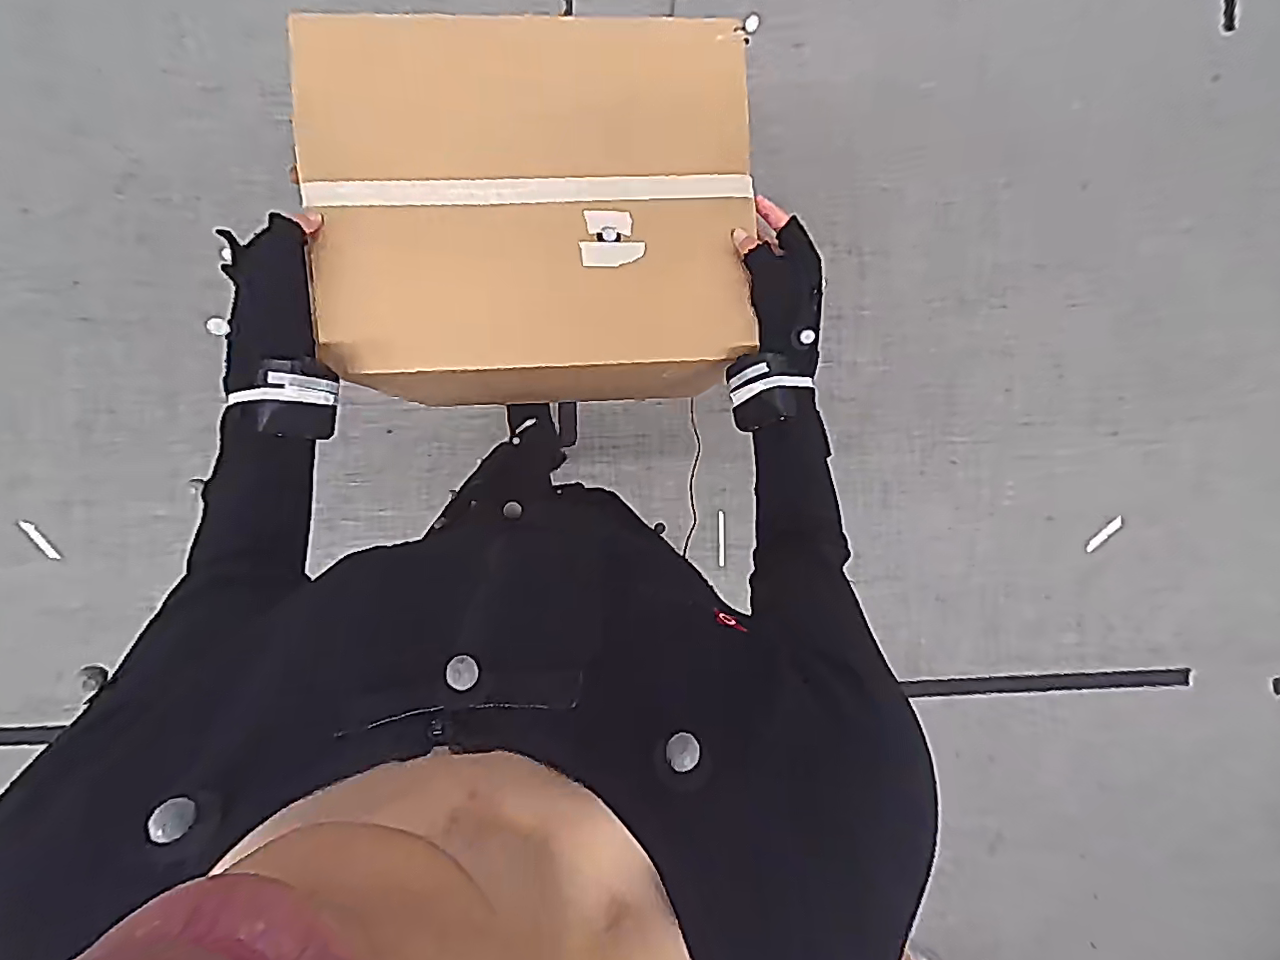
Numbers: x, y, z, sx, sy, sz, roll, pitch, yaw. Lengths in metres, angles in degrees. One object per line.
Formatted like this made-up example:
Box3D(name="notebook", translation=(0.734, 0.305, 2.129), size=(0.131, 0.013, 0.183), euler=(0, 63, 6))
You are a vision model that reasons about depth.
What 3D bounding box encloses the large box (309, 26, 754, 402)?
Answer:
Box3D(name="large box", translation=(-0.108, -0.276, 0.659), size=(0.408, 0.320, 0.320), euler=(-4, 93, -5))
